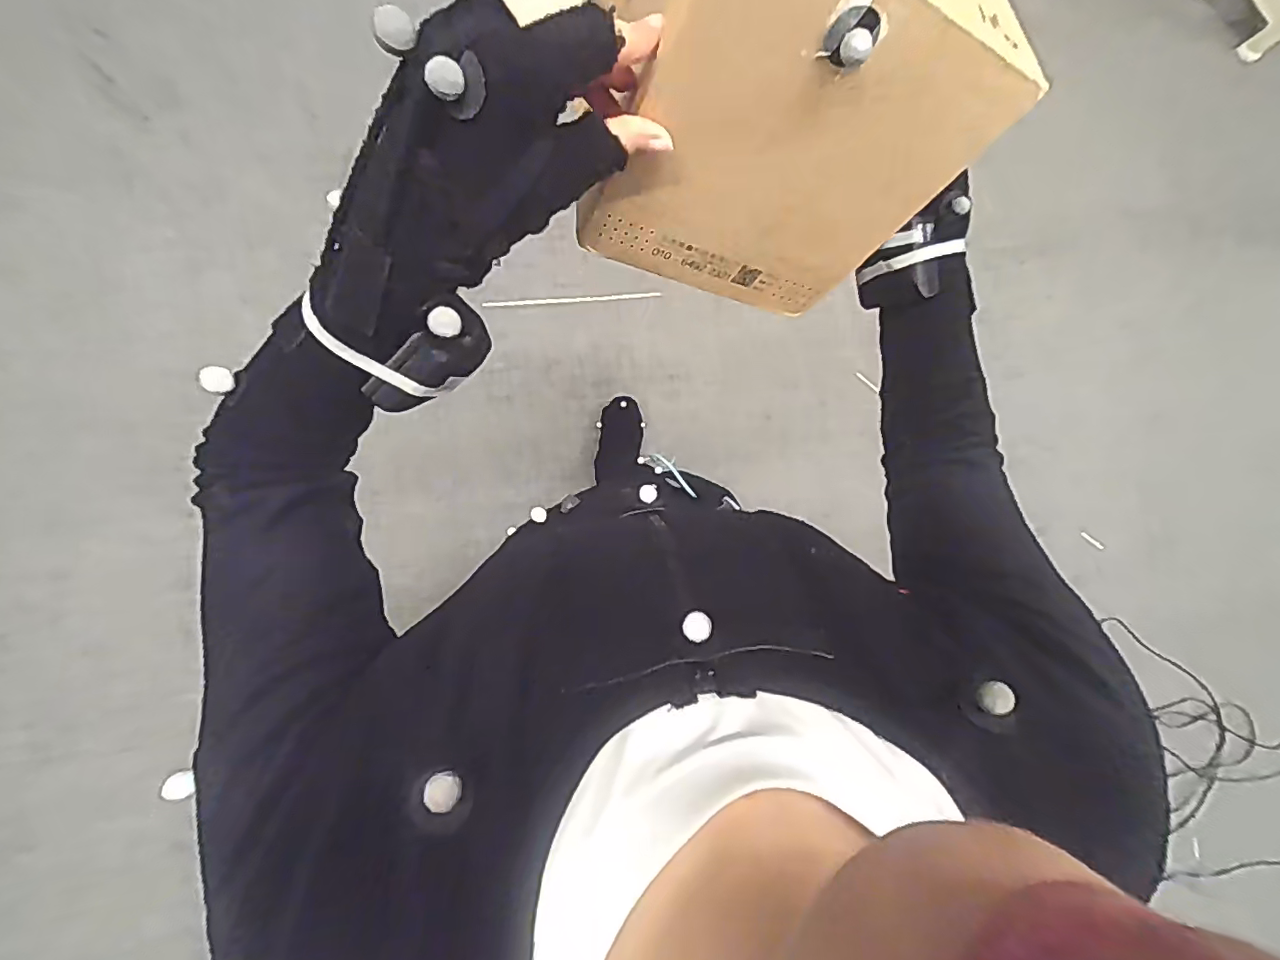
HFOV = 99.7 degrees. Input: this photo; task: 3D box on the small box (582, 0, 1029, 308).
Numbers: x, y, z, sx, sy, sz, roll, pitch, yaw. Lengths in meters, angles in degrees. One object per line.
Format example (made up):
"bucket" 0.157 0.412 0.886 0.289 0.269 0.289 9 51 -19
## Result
"small box" 0.070 -0.239 0.318 0.168 0.176 0.179 9 63 -25
